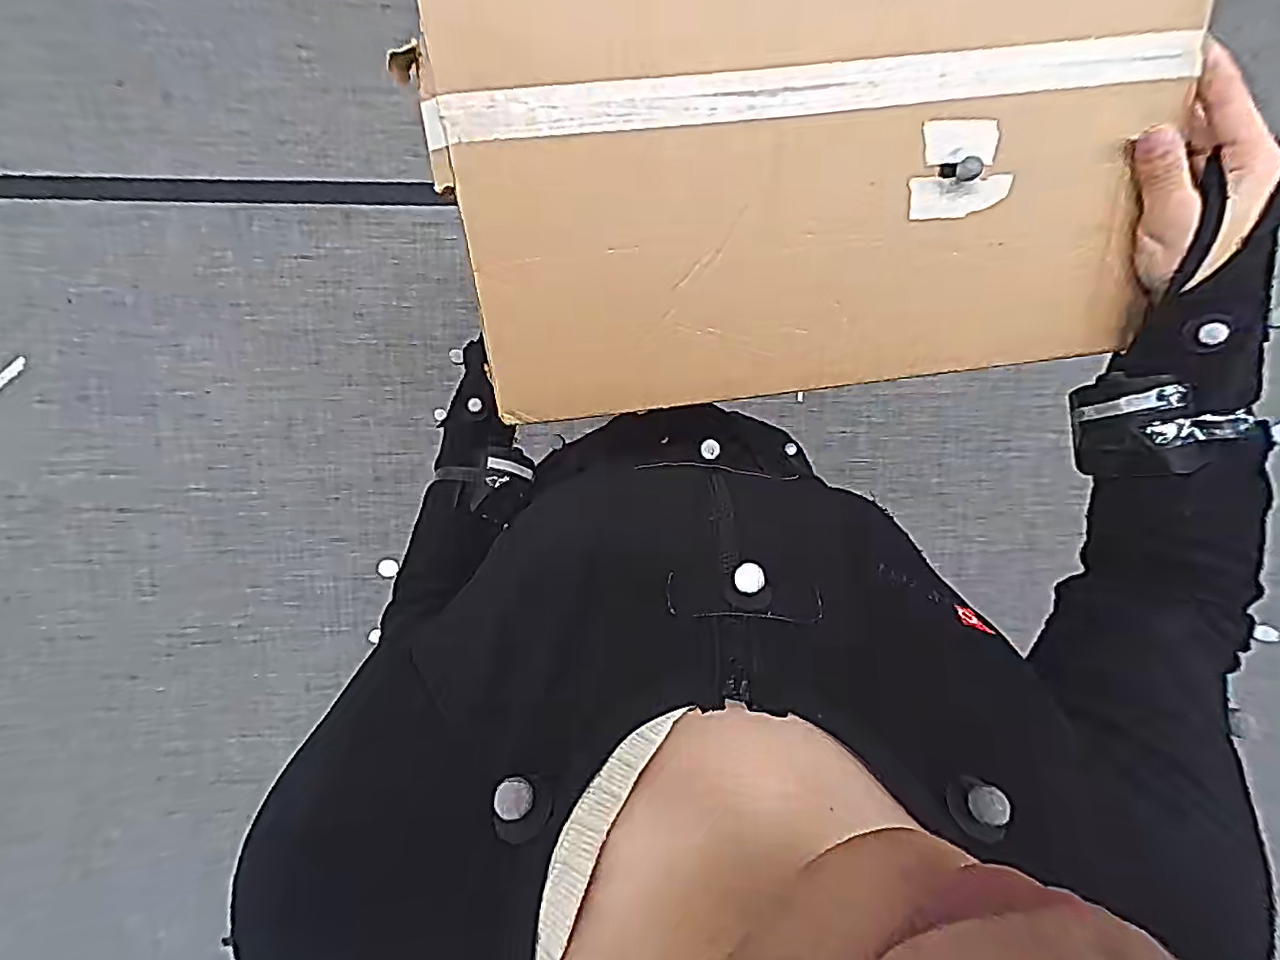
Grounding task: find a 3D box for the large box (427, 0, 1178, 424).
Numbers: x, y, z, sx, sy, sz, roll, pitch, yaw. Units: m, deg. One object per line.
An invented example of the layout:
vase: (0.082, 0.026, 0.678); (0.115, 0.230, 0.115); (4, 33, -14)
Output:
large box: (0.079, -0.254, 0.431); (0.408, 0.320, 0.320); (-8, 111, -5)
